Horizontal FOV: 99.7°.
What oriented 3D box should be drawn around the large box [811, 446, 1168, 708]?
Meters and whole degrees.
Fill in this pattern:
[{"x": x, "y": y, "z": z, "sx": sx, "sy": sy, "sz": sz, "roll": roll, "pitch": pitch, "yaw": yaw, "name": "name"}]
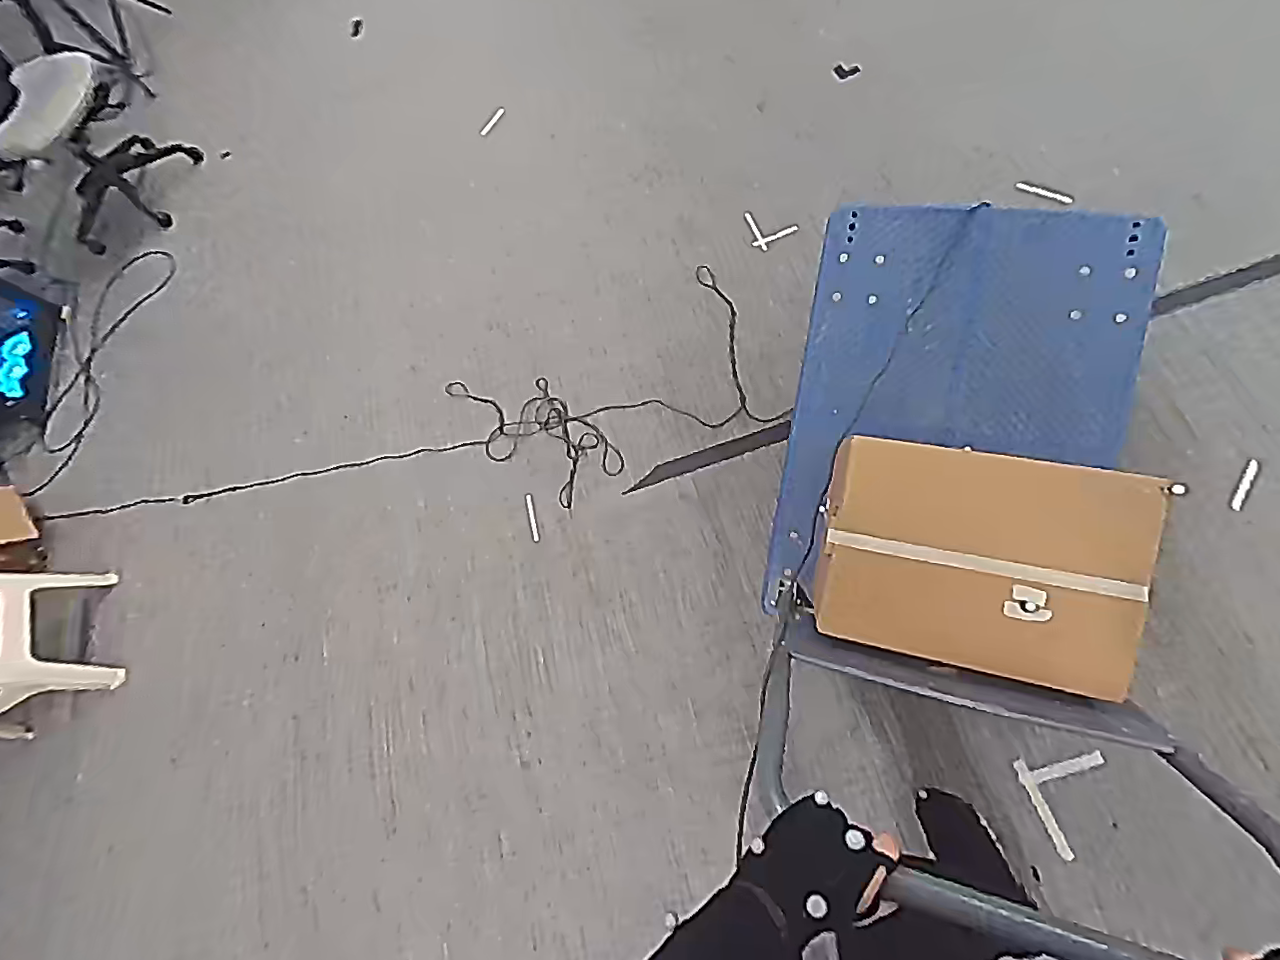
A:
[{"x": 0.524, "y": 0.126, "z": 0.915, "sx": 0.408, "sy": 0.320, "sz": 0.320, "roll": 10, "pitch": 95, "yaw": 15, "name": "large box"}]
